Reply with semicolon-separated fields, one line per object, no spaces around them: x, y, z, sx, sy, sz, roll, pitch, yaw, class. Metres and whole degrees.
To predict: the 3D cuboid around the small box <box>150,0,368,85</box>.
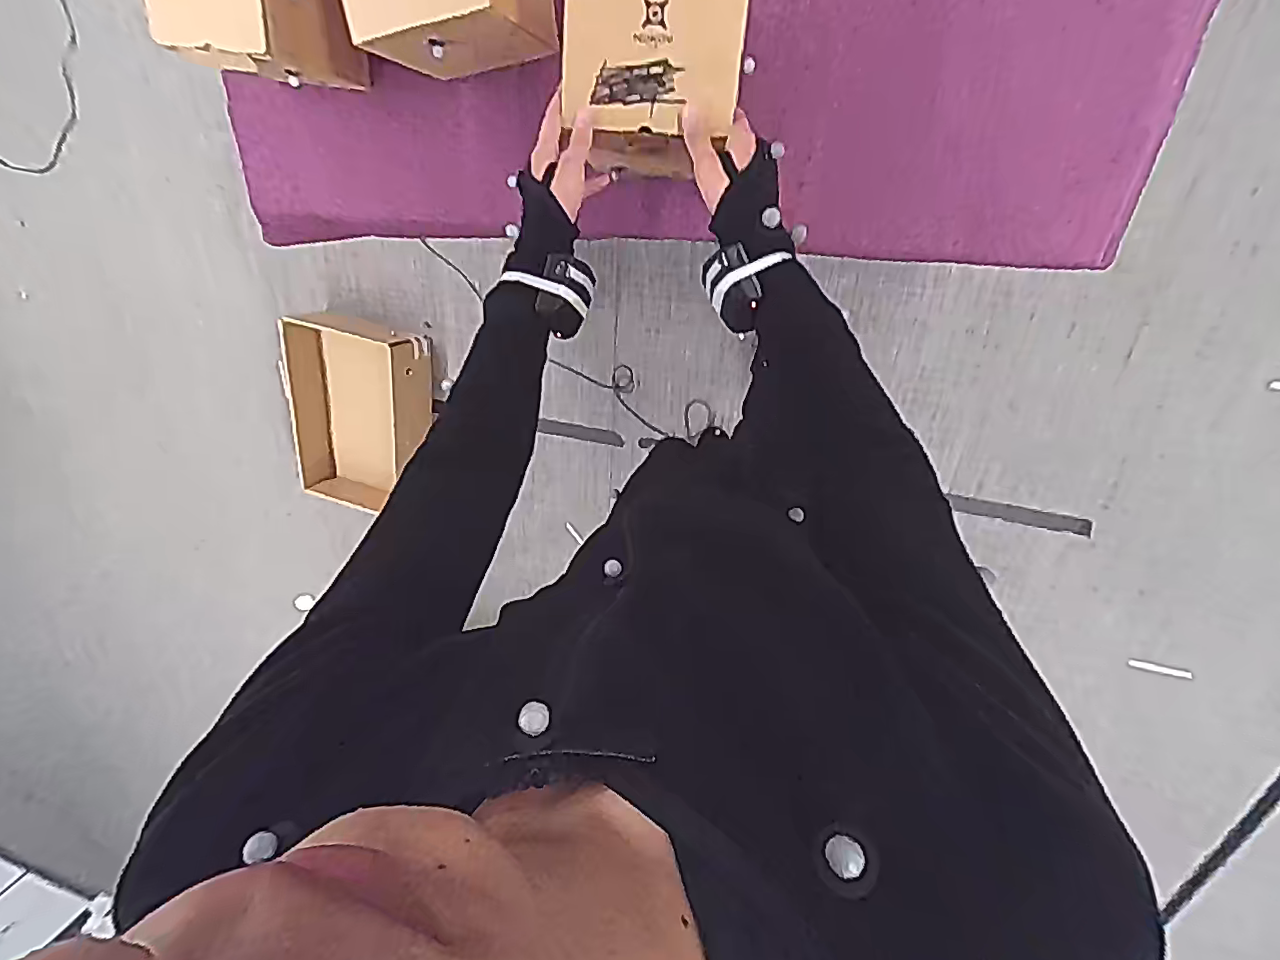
-0.461;-0.610;0.662;0.168;0.176;0.179;14;117;10;small box

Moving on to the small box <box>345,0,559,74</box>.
-0.210;-0.577;0.597;0.179;0.176;0.168;1;115;17;small box

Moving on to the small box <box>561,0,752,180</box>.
0.023;-0.428;0.560;0.168;0.176;0.179;7;107;5;small box
